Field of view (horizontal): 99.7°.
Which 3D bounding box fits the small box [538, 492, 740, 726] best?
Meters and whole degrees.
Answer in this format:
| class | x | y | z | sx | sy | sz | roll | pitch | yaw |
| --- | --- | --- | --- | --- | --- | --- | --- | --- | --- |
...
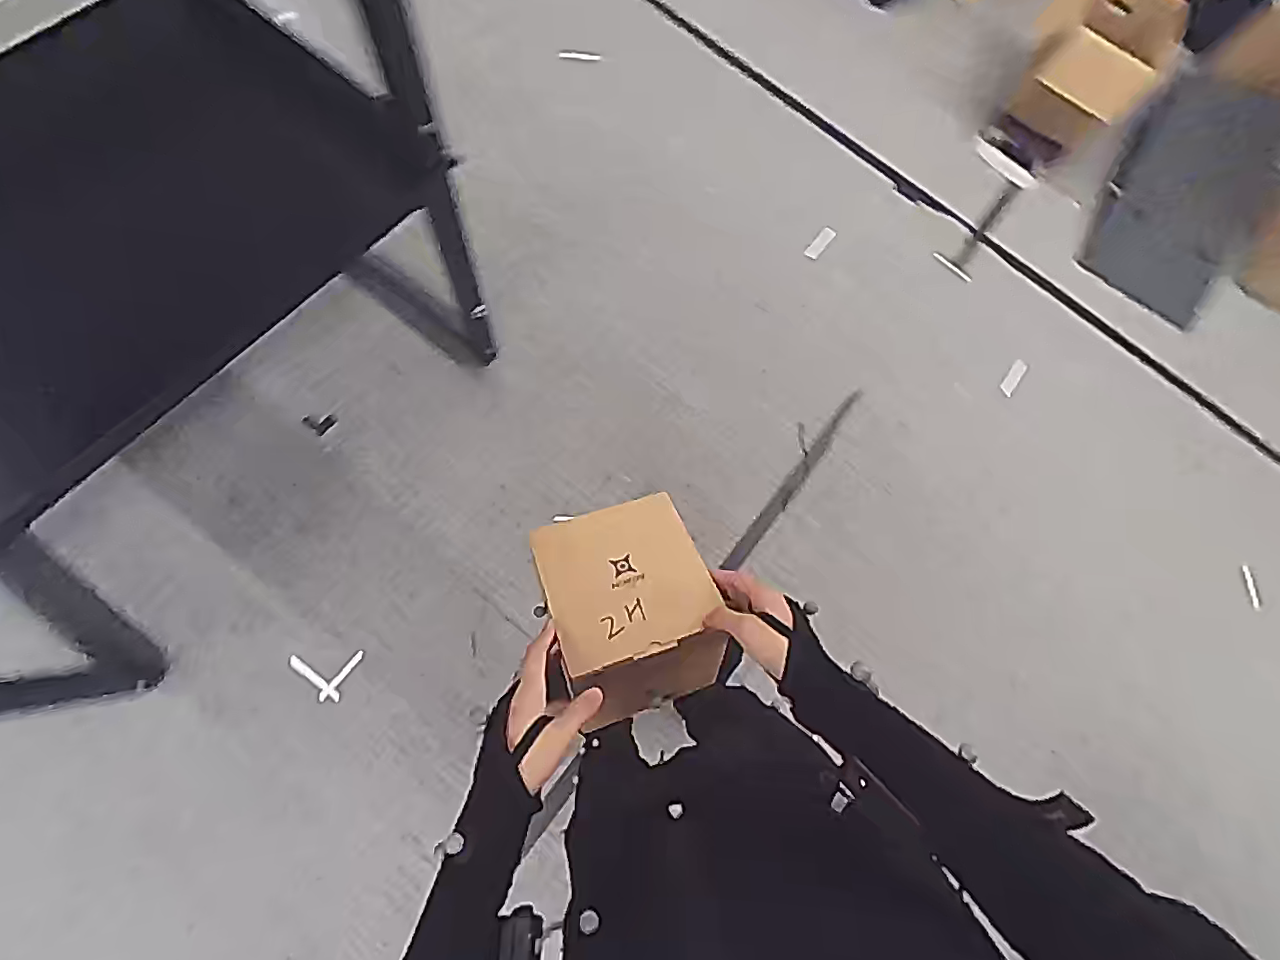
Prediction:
| class | x | y | z | sx | sy | sz | roll | pitch | yaw |
| --- | --- | --- | --- | --- | --- | --- | --- | --- | --- |
| small box | -0.009 | 0.146 | 0.611 | 0.168 | 0.176 | 0.179 | -16 | 53 | -13 |
